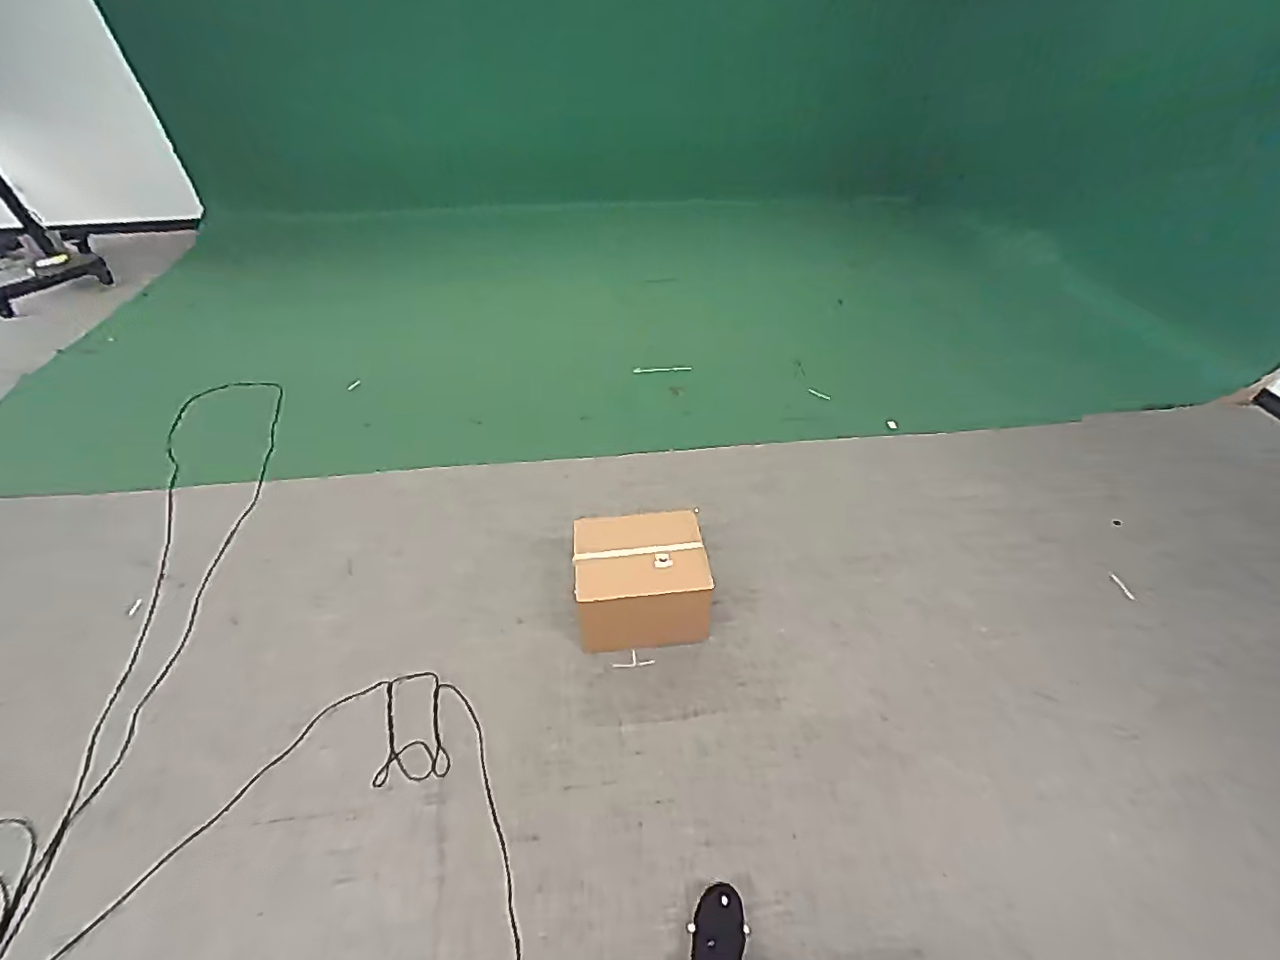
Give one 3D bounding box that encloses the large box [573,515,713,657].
[{"bbox_3d":[-0.001,0.350,1.782,0.408,0.320,0.320,-5,44,-5],"label":"large box"}]
